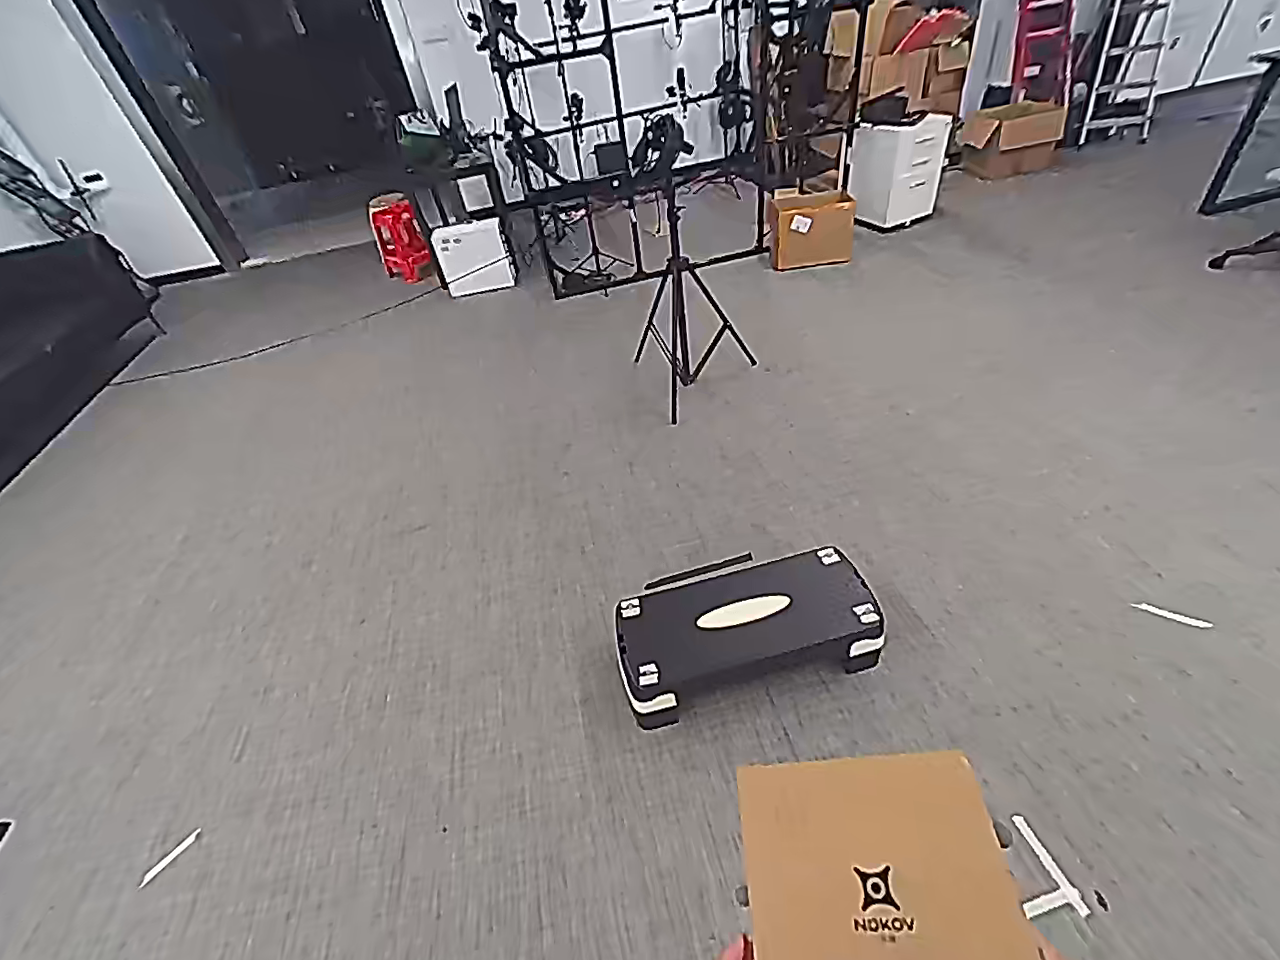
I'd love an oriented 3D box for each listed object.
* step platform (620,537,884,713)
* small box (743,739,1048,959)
[{"bbox_3d":[0.289,0.382,1.469,0.684,0.204,0.286,-15,41,-4],"label":"step platform"},{"bbox_3d":[0.179,0.316,0.401,0.168,0.176,0.179,-13,44,14],"label":"small box"}]
